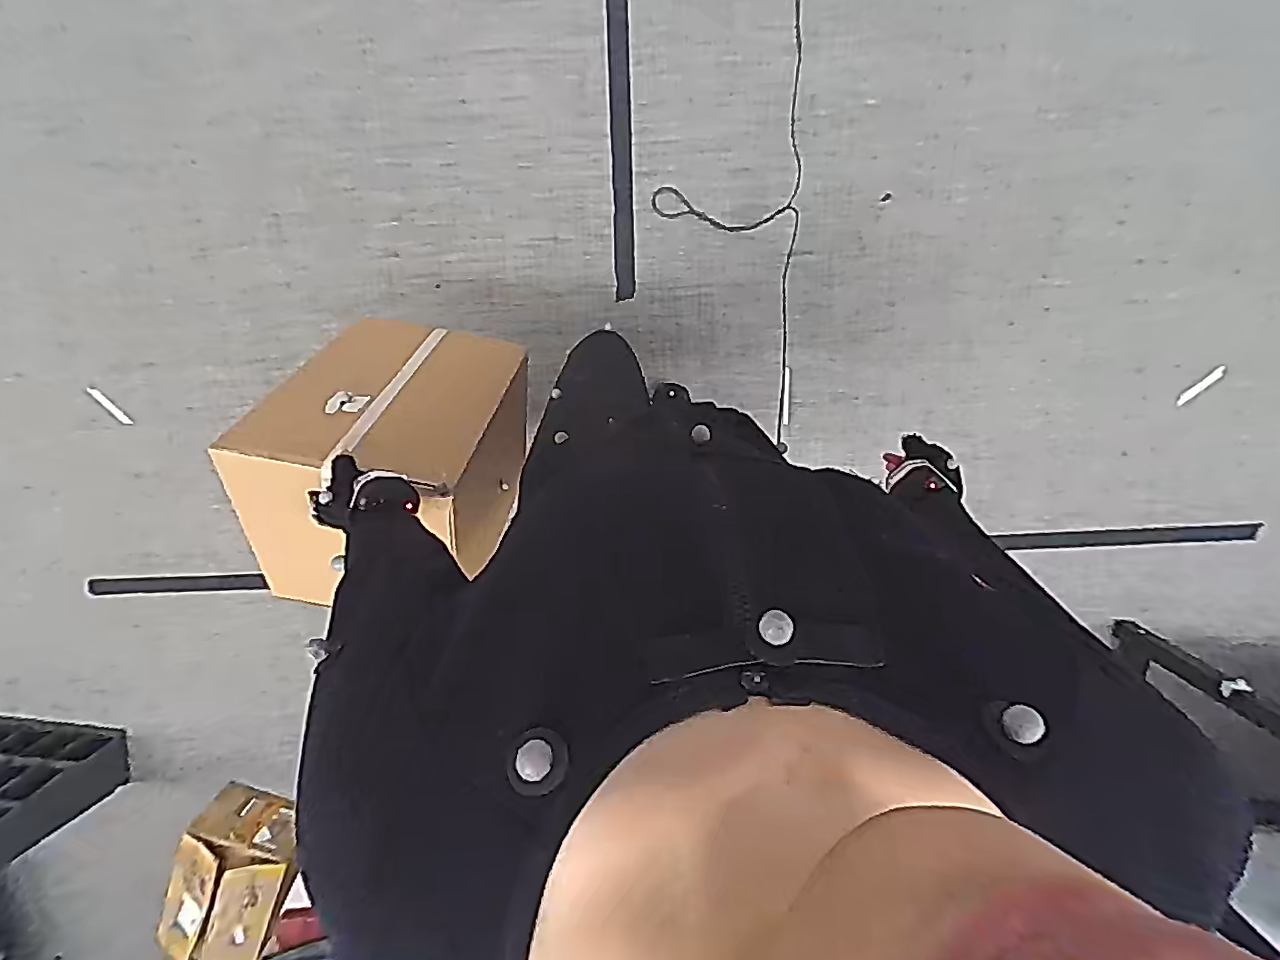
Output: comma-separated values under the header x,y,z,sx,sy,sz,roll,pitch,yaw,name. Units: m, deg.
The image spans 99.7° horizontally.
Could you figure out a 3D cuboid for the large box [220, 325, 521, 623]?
x,y,z,sx,sy,sz,roll,pitch,yaw,name
-0.407,-0.021,0.951,0.320,0.408,0.320,9,131,-1,large box
